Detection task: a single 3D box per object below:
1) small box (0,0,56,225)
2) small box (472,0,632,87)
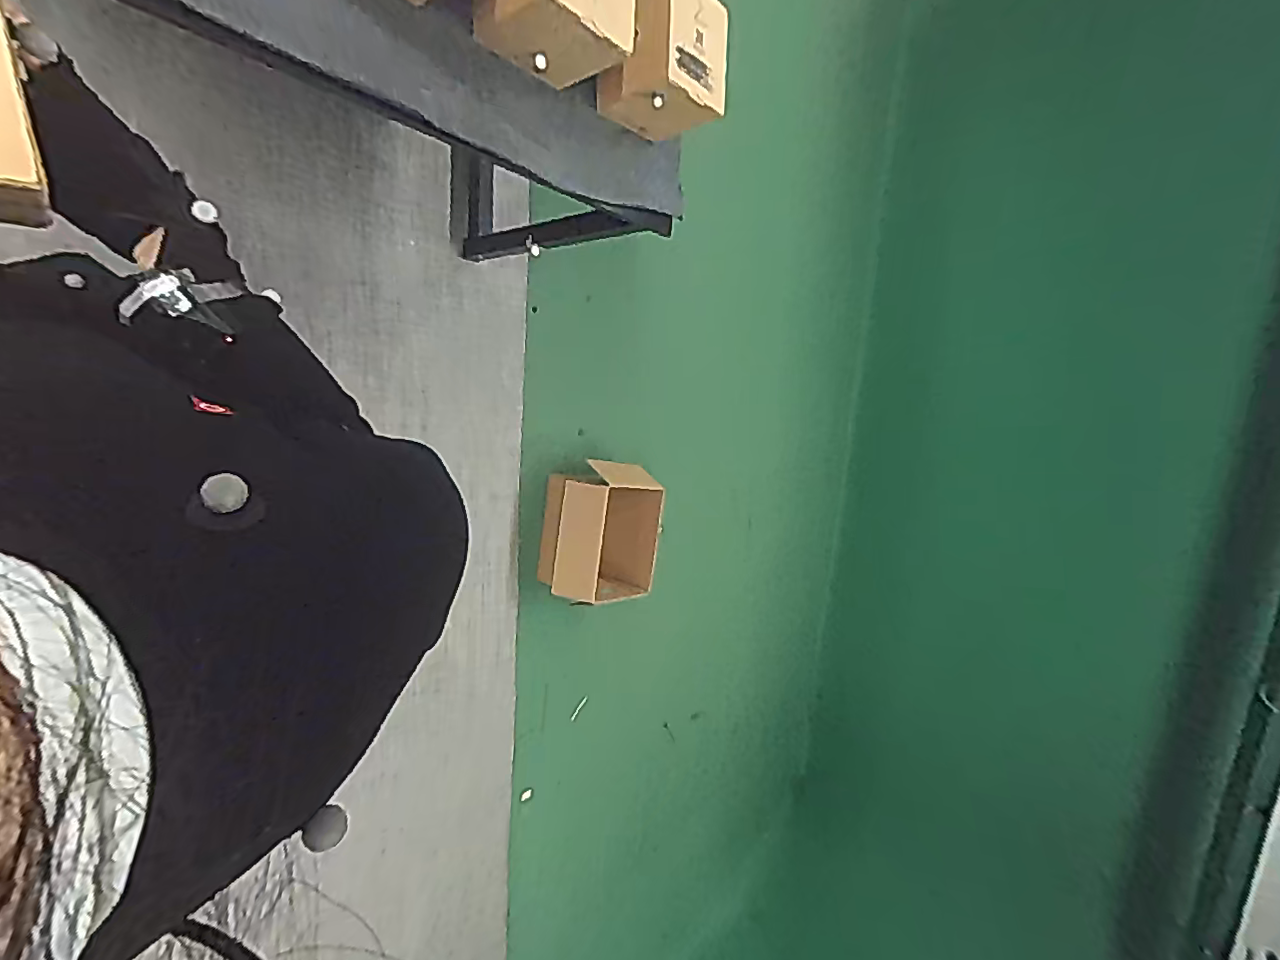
[{"bbox_3d":[-0.415,-0.233,0.253,0.168,0.176,0.179,-14,113,-45],"label":"small box"},{"bbox_3d":[-0.126,-0.718,0.778,0.168,0.176,0.179,-8,105,-49],"label":"small box"}]
